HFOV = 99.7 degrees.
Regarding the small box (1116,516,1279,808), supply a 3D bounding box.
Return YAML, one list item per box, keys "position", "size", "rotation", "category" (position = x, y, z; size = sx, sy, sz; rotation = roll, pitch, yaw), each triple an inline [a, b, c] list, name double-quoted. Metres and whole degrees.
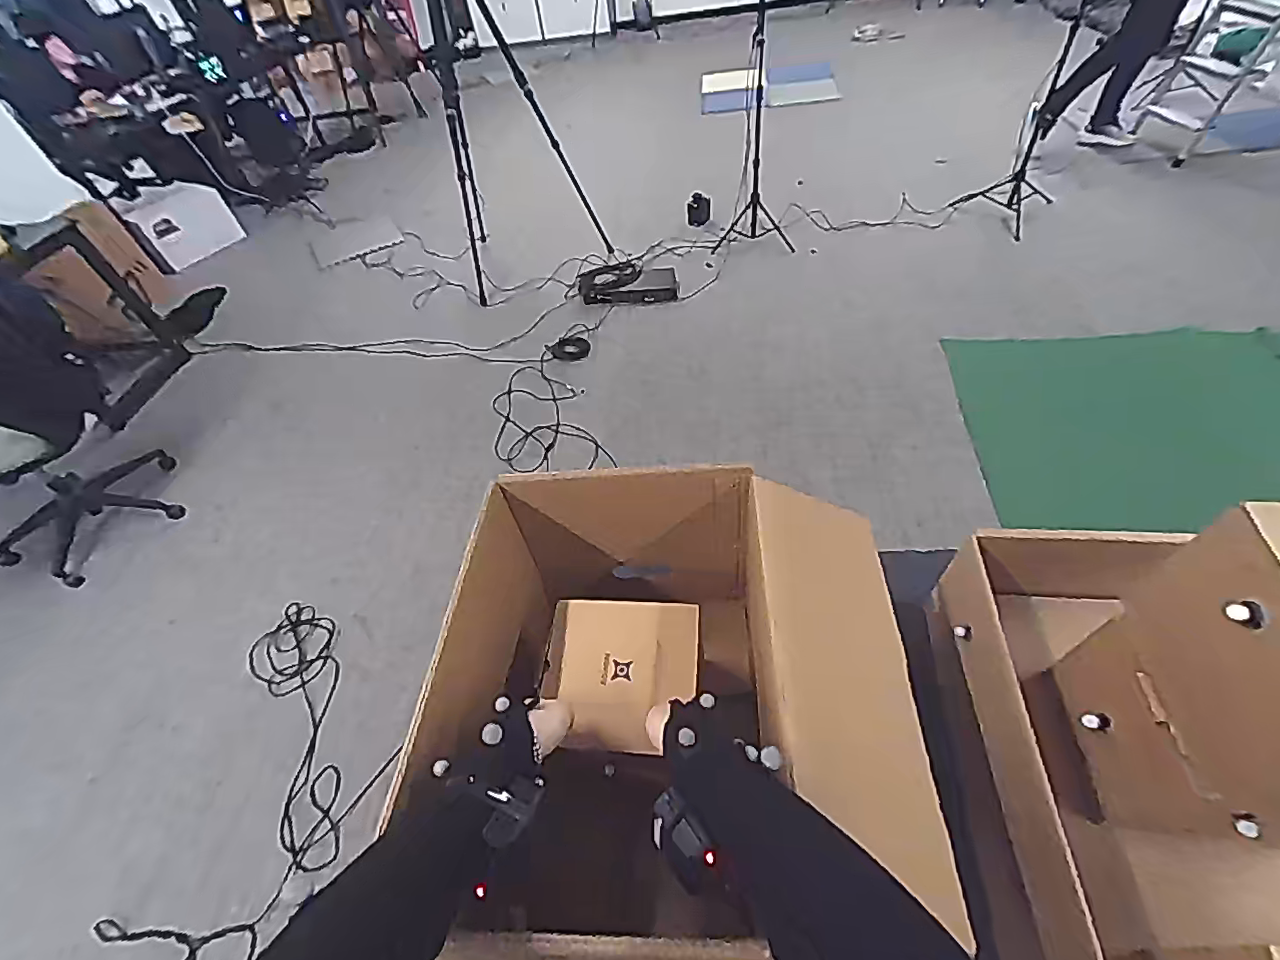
- position: [0.538, 0.151, 0.429]
  size: [0.168, 0.176, 0.179]
  rotation: [3, 52, 10]
  category: "small box"
